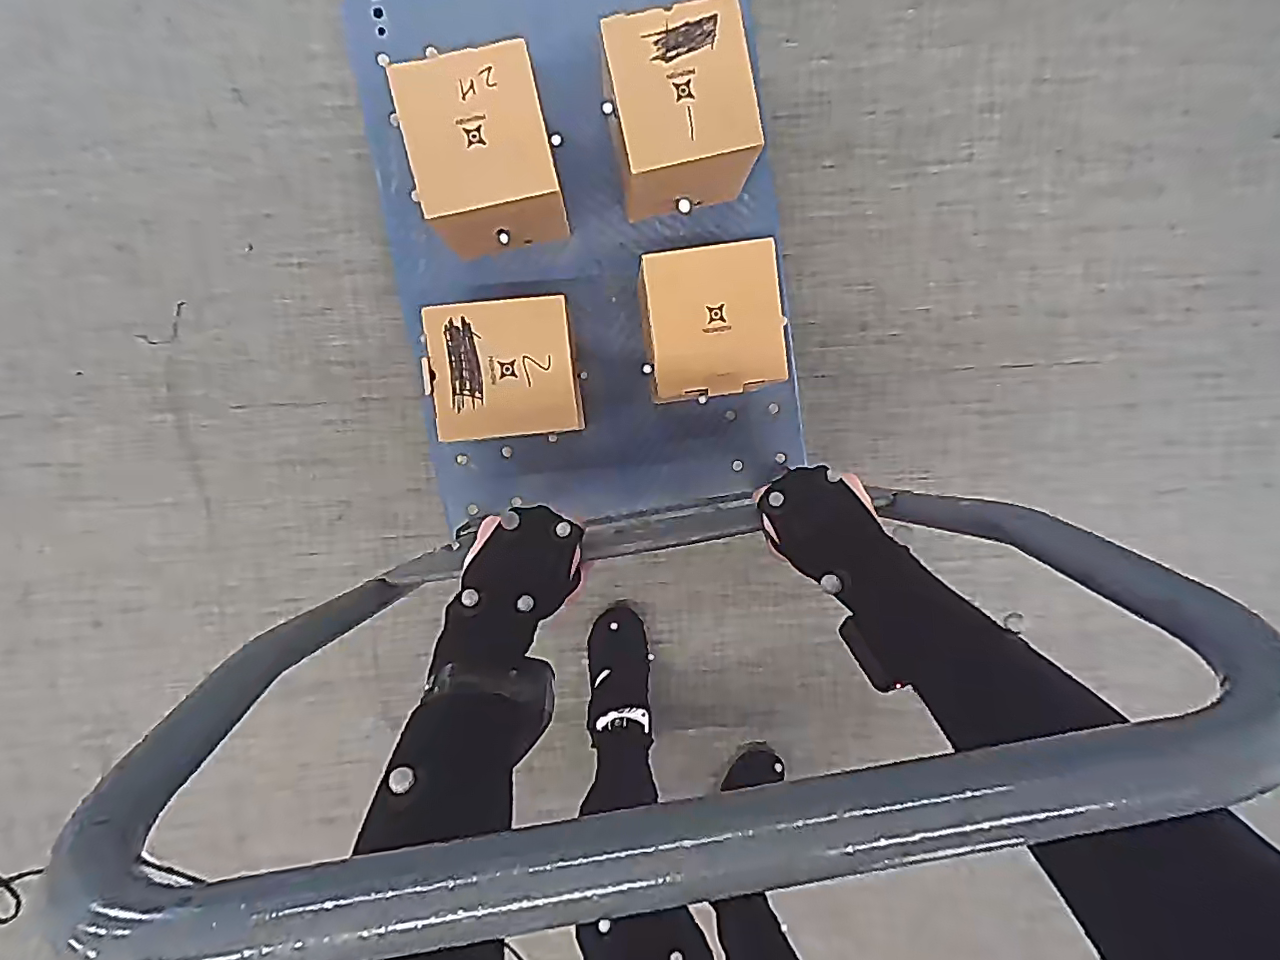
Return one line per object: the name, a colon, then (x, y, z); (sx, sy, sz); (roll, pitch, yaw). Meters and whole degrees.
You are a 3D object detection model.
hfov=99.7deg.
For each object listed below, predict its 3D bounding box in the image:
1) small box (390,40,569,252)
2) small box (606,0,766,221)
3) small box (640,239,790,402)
small box: (-0.194, -0.416, 0.710); (0.168, 0.176, 0.179); (-12, 97, -2)
small box: (0.051, -0.472, 0.712); (0.168, 0.176, 0.179); (-12, 97, 0)
small box: (0.093, -0.207, 0.744); (0.168, 0.176, 0.179); (-8, 97, -1)
